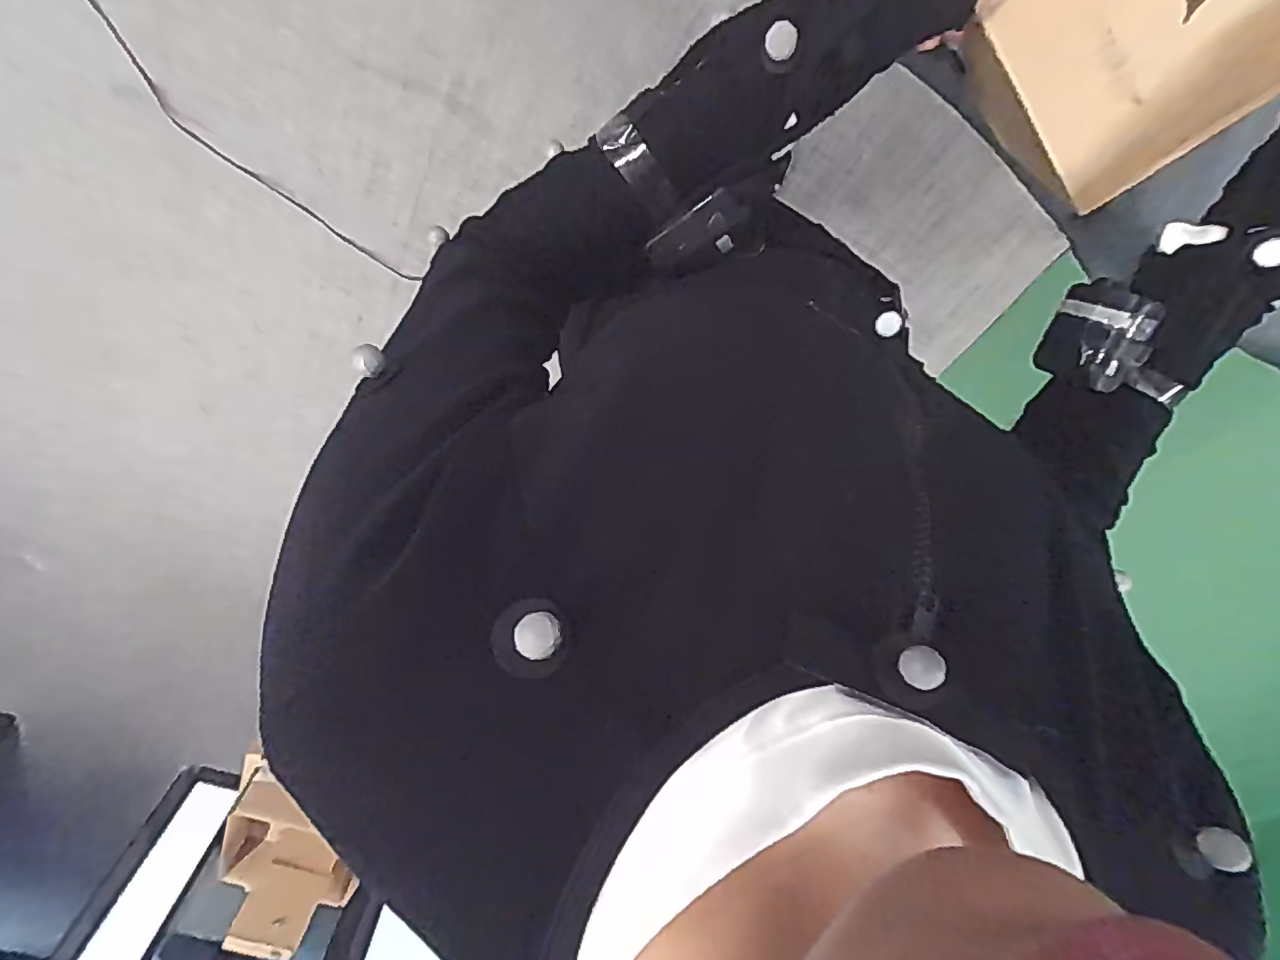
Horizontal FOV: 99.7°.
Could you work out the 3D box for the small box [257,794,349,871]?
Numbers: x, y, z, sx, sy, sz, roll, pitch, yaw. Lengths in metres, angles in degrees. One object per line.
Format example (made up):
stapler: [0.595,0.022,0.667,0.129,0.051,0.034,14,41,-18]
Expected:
small box: [-1.024,1.082,1.642,0.179,0.176,0.168,26,127,-13]

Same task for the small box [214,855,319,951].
small box: [-1.036,1.178,1.509,0.179,0.176,0.168,28,125,-14]

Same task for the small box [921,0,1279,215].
small box: [0.303,-0.314,0.330,0.168,0.176,0.179,38,131,-25]
